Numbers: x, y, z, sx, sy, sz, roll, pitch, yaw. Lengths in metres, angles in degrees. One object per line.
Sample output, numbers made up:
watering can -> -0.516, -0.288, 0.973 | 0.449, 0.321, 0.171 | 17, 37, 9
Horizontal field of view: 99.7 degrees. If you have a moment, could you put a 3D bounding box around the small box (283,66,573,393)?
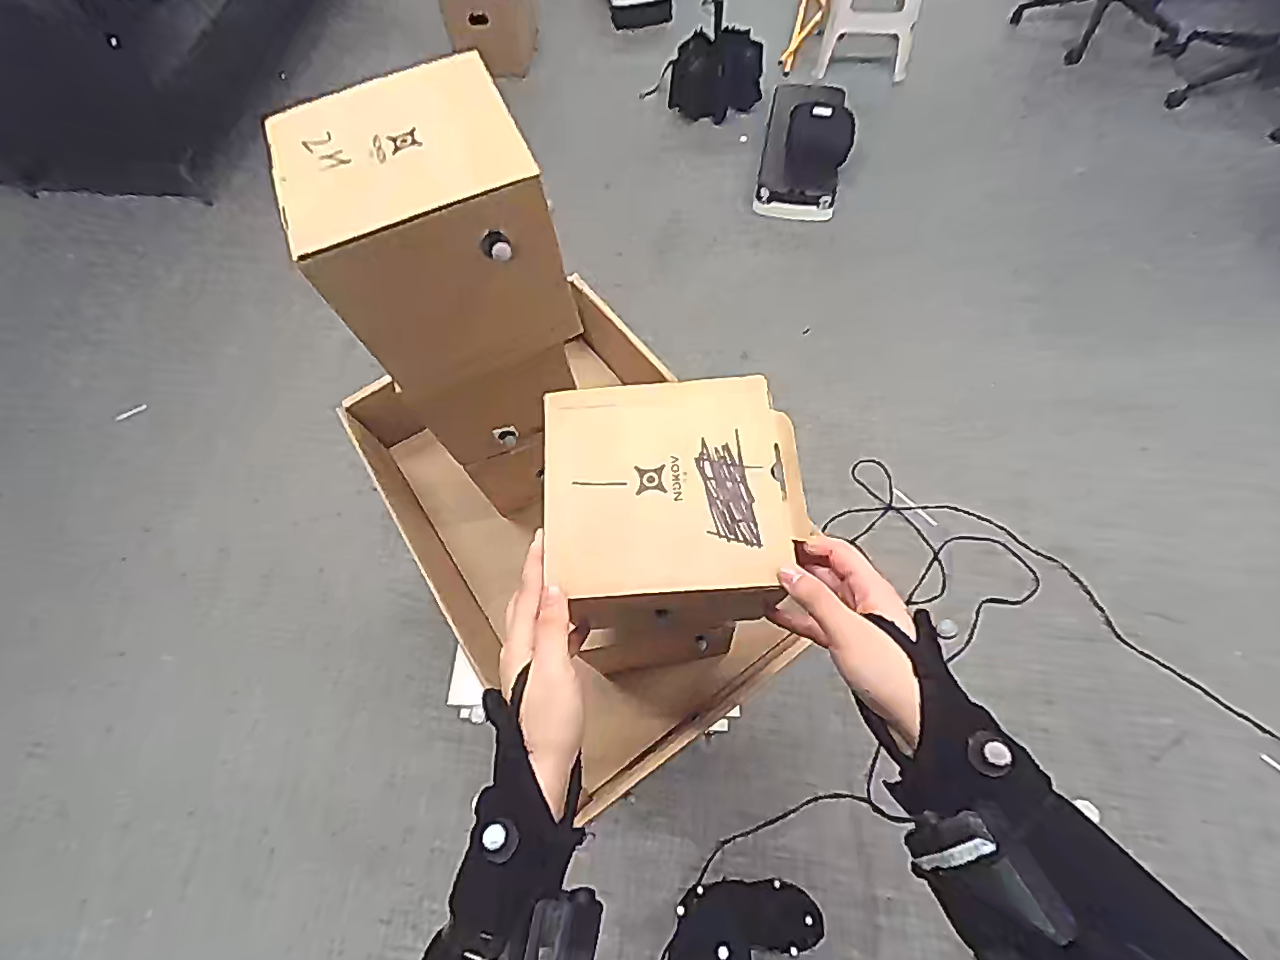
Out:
small box -> -0.169, -0.209, 0.478 | 0.179, 0.176, 0.168 | -23, 65, -5

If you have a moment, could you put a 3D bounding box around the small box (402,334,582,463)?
small box -> -0.169, -0.149, 0.632 | 0.168, 0.176, 0.179 | -20, 66, -3

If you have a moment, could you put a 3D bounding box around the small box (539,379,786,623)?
small box -> 0.016, 0.029, 0.479 | 0.179, 0.176, 0.168 | -4, 67, 3
